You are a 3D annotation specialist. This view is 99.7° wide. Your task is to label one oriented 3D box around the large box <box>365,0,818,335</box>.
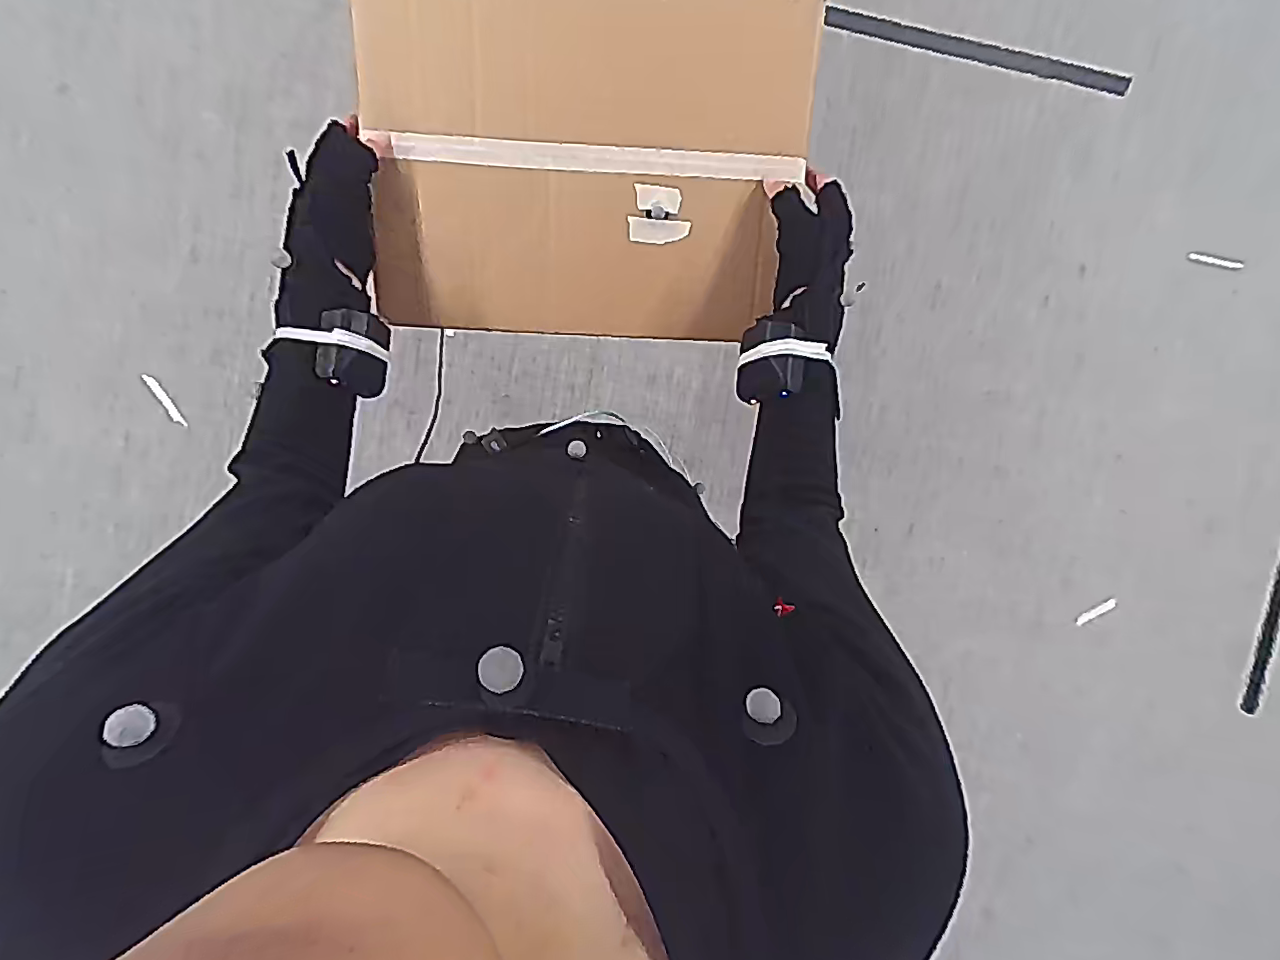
[{"bbox_3d":[-0.054,-0.345,0.652,0.408,0.320,0.320,2,107,-4],"label":"large box"}]
